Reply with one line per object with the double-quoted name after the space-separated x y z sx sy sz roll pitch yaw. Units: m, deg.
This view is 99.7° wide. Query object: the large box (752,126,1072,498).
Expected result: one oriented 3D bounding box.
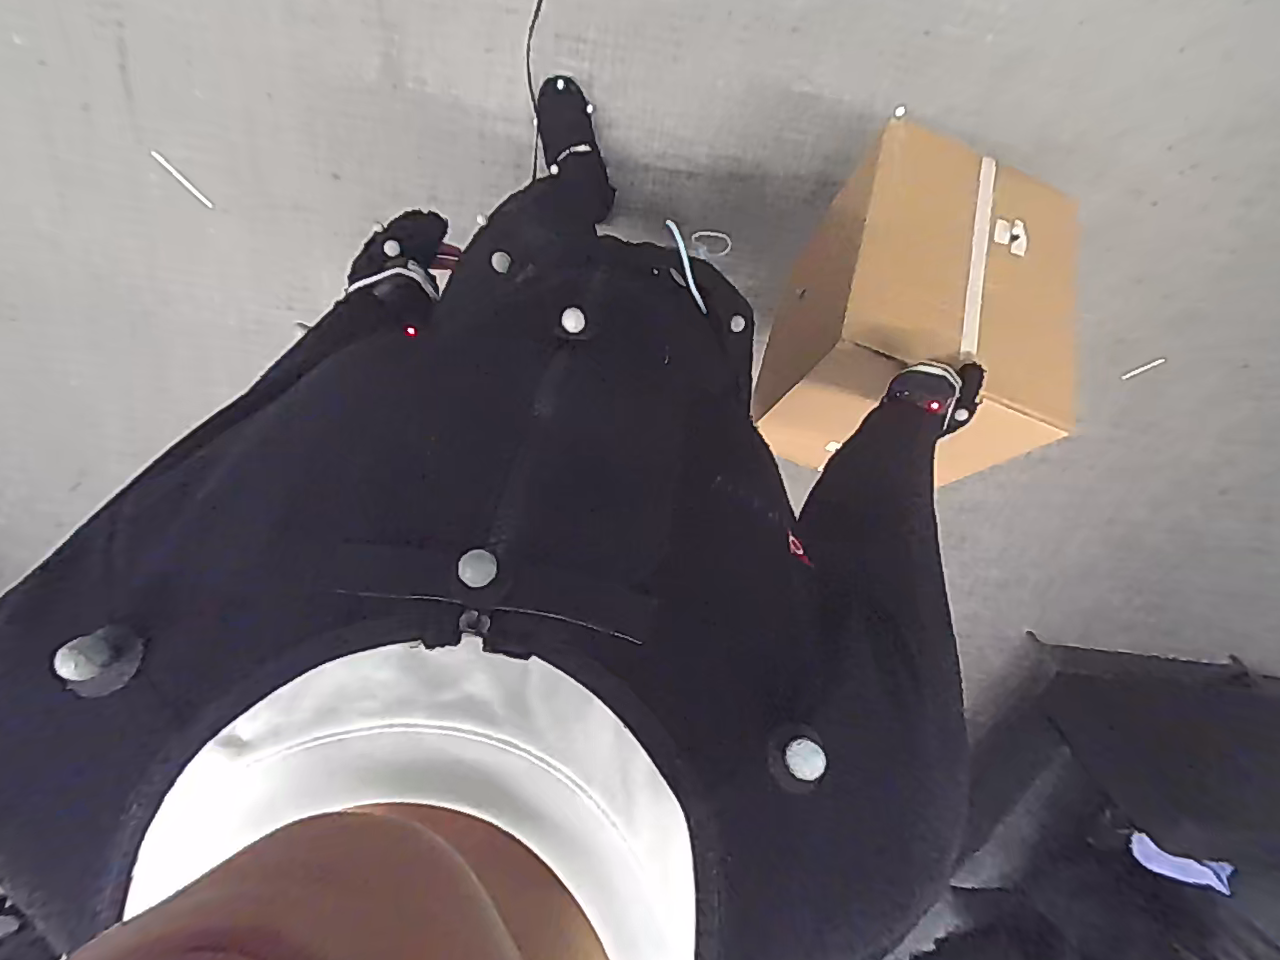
0.410 -0.235 0.854 0.320 0.408 0.320 21 159 -5 "large box"
